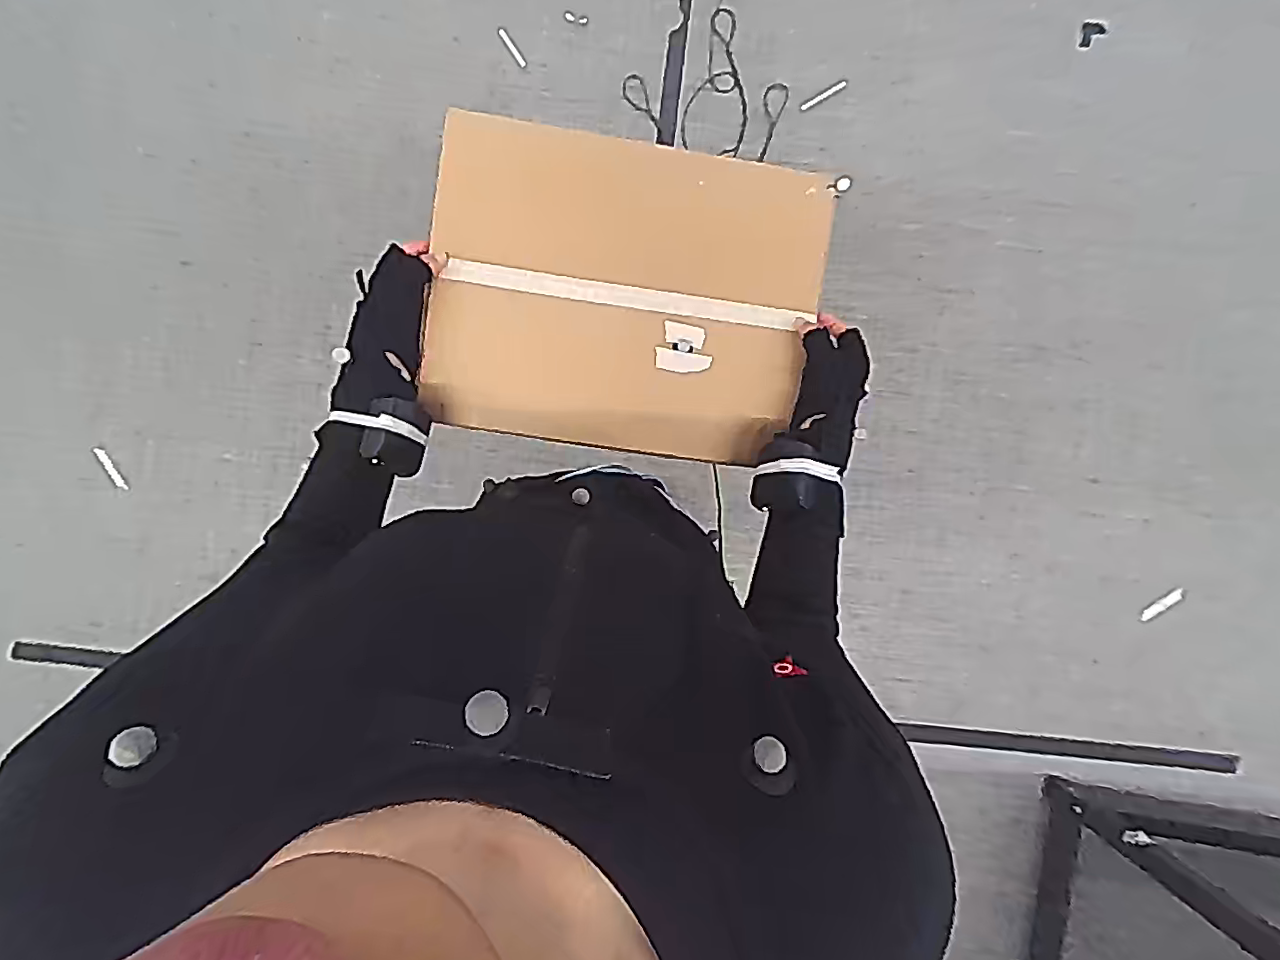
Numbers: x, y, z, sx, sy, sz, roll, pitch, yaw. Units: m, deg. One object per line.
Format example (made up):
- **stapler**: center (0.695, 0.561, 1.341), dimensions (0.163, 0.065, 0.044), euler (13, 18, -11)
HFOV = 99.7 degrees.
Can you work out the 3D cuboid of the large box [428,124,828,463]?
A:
- **large box**: center (-0.022, -0.203, 0.725), dimensions (0.408, 0.320, 0.320), euler (8, 94, -4)
